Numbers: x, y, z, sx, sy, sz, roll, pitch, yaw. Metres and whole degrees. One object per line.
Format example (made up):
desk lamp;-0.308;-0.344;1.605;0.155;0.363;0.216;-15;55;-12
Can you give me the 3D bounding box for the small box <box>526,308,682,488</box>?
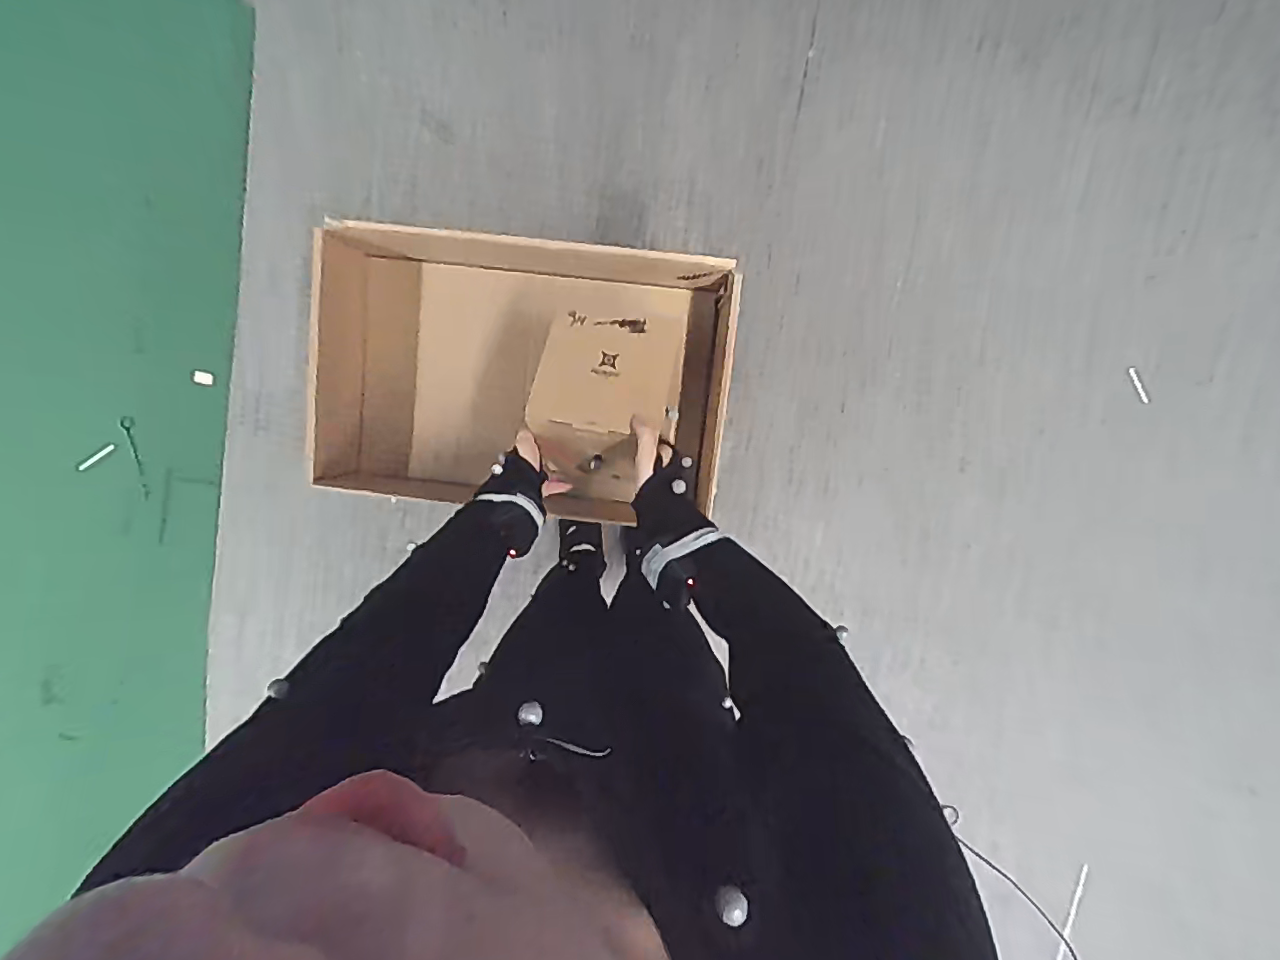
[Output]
small box;-0.040;-0.104;0.748;0.168;0.176;0.179;11;69;6
